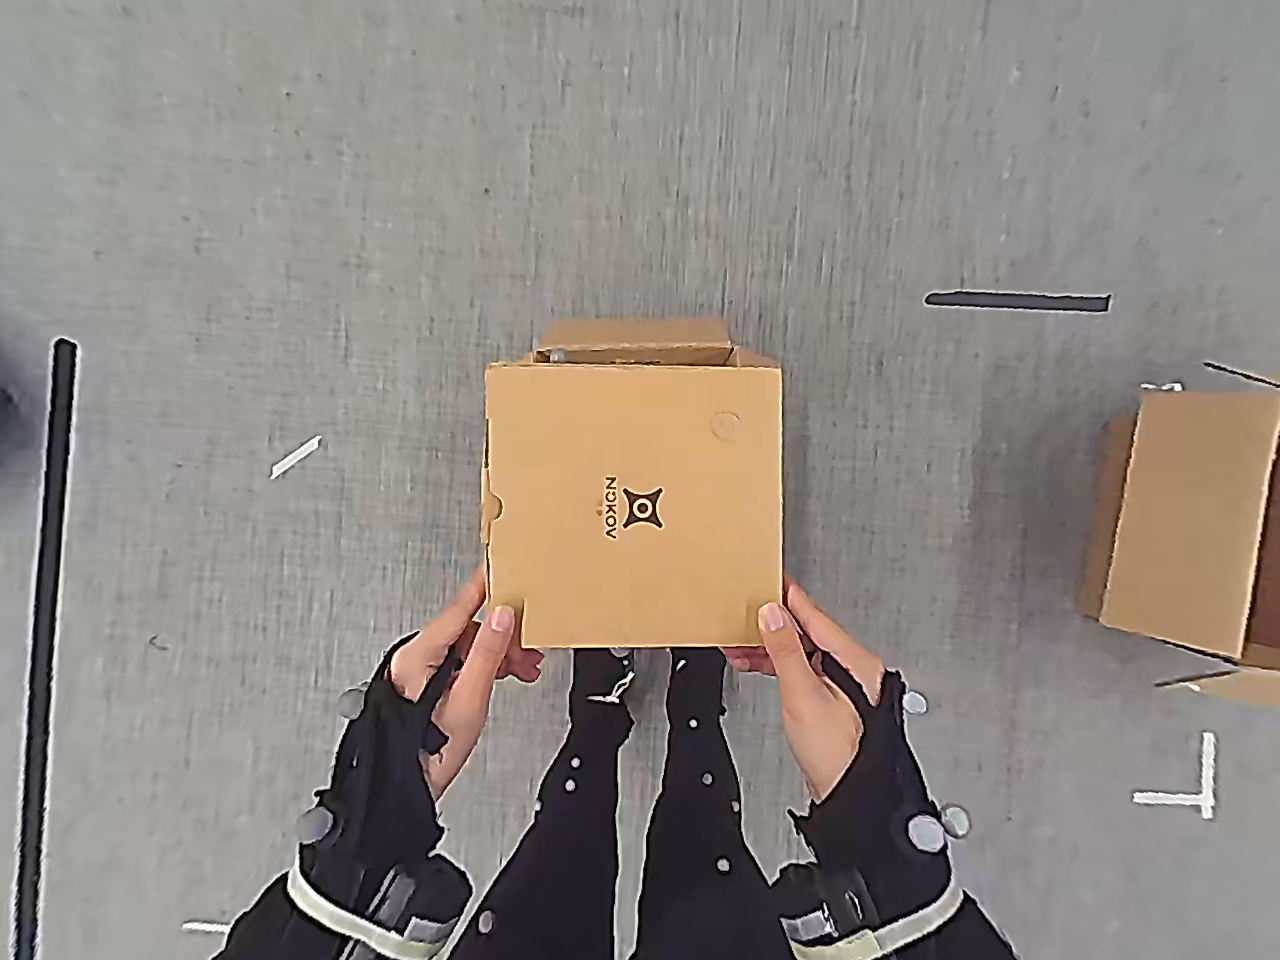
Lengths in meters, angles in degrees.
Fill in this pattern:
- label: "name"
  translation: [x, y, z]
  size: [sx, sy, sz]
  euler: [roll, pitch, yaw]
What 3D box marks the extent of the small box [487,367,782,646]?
- label: "small box"
  translation: [-0.005, 0.015, 0.398]
  size: [0.179, 0.176, 0.168]
  euler: [0, 90, -1]
